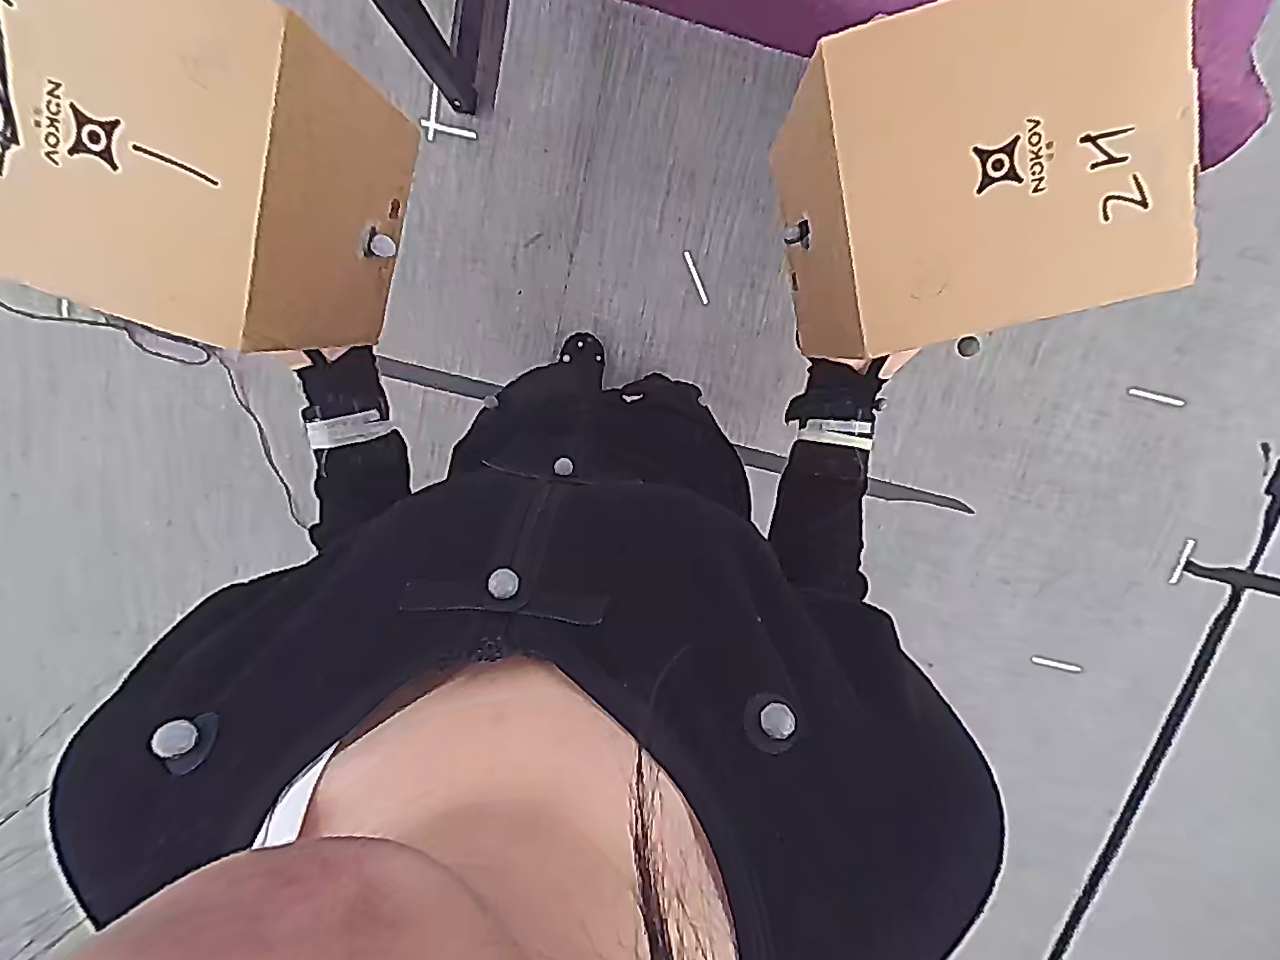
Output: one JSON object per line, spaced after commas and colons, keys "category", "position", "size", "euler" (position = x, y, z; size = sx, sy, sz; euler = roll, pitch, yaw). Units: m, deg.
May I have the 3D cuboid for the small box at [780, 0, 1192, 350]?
{"category": "small box", "position": [0.198, -0.184, 0.360], "size": [0.179, 0.176, 0.168], "euler": [-12, 103, 7]}

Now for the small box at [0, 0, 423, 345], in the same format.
{"category": "small box", "position": [-0.263, -0.191, 0.334], "size": [0.179, 0.176, 0.168], "euler": [18, 105, -7]}
